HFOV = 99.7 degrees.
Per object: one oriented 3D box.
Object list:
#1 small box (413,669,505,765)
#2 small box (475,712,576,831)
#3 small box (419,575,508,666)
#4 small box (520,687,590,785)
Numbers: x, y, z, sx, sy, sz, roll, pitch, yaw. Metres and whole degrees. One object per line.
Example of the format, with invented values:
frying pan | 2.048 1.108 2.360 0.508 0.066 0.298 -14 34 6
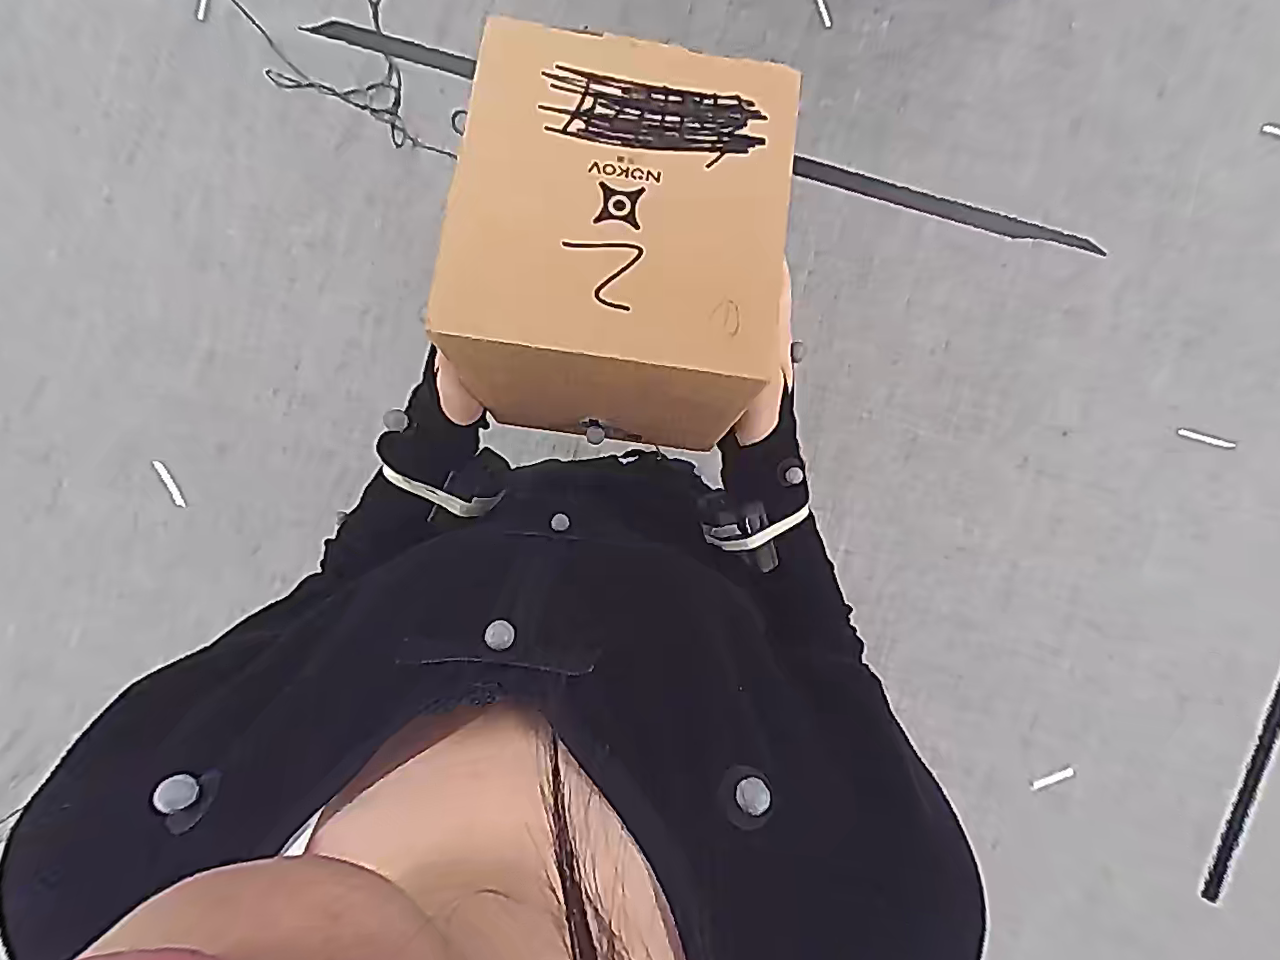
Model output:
small box | -0.474 0.620 1.436 0.179 0.176 0.168 9 94 0
small box | -0.260 0.671 1.266 0.179 0.176 0.168 13 94 0
small box | -0.456 0.360 1.420 0.168 0.176 0.179 10 93 0
small box | -0.234 0.668 1.431 0.179 0.176 0.168 9 93 0
